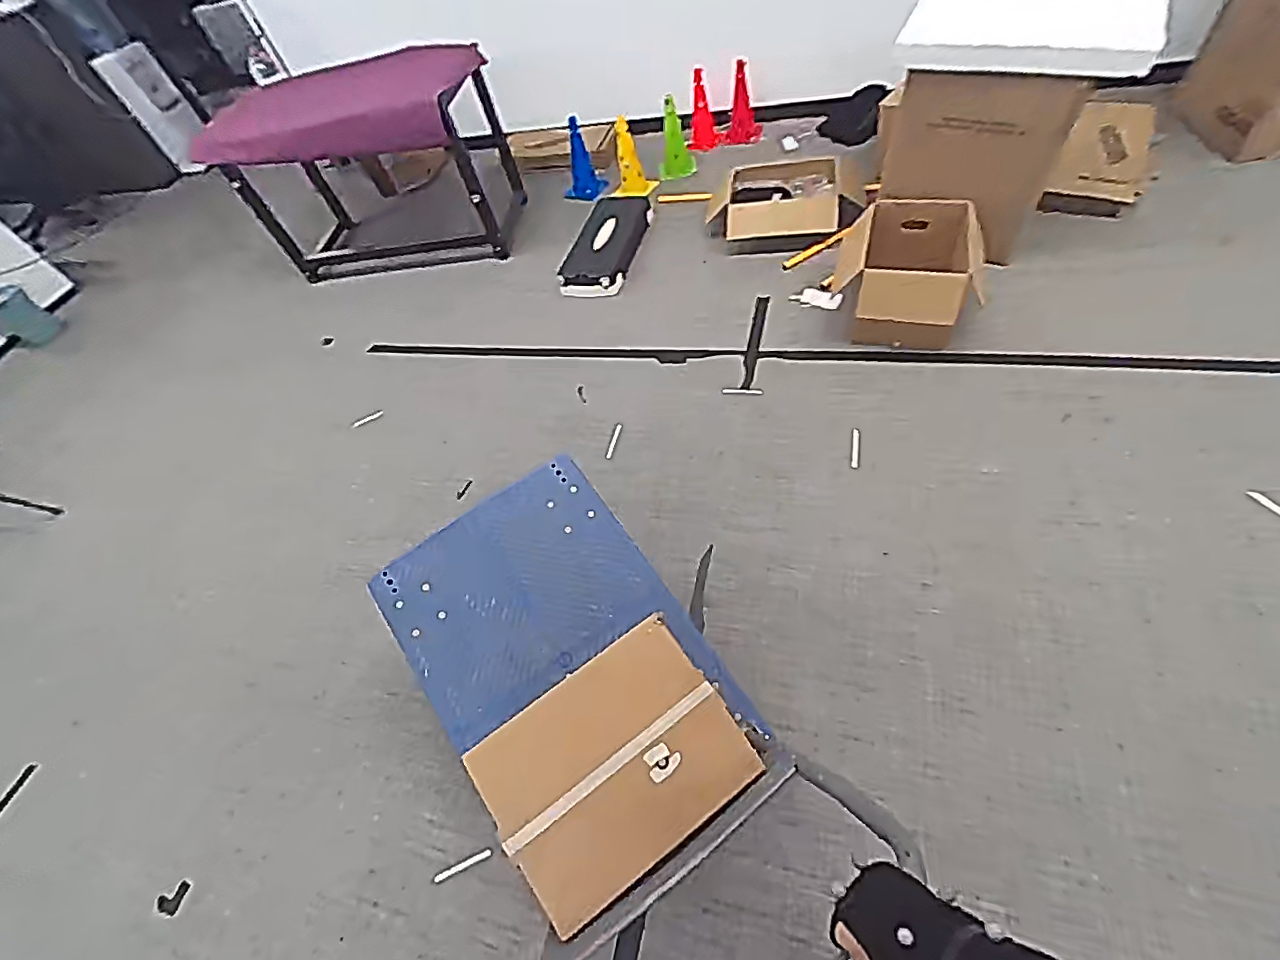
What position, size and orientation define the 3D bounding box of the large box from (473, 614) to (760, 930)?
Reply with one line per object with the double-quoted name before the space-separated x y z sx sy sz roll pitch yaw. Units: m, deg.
"large box" -0.043 0.526 1.053 0.408 0.320 0.320 -34 74 -14
